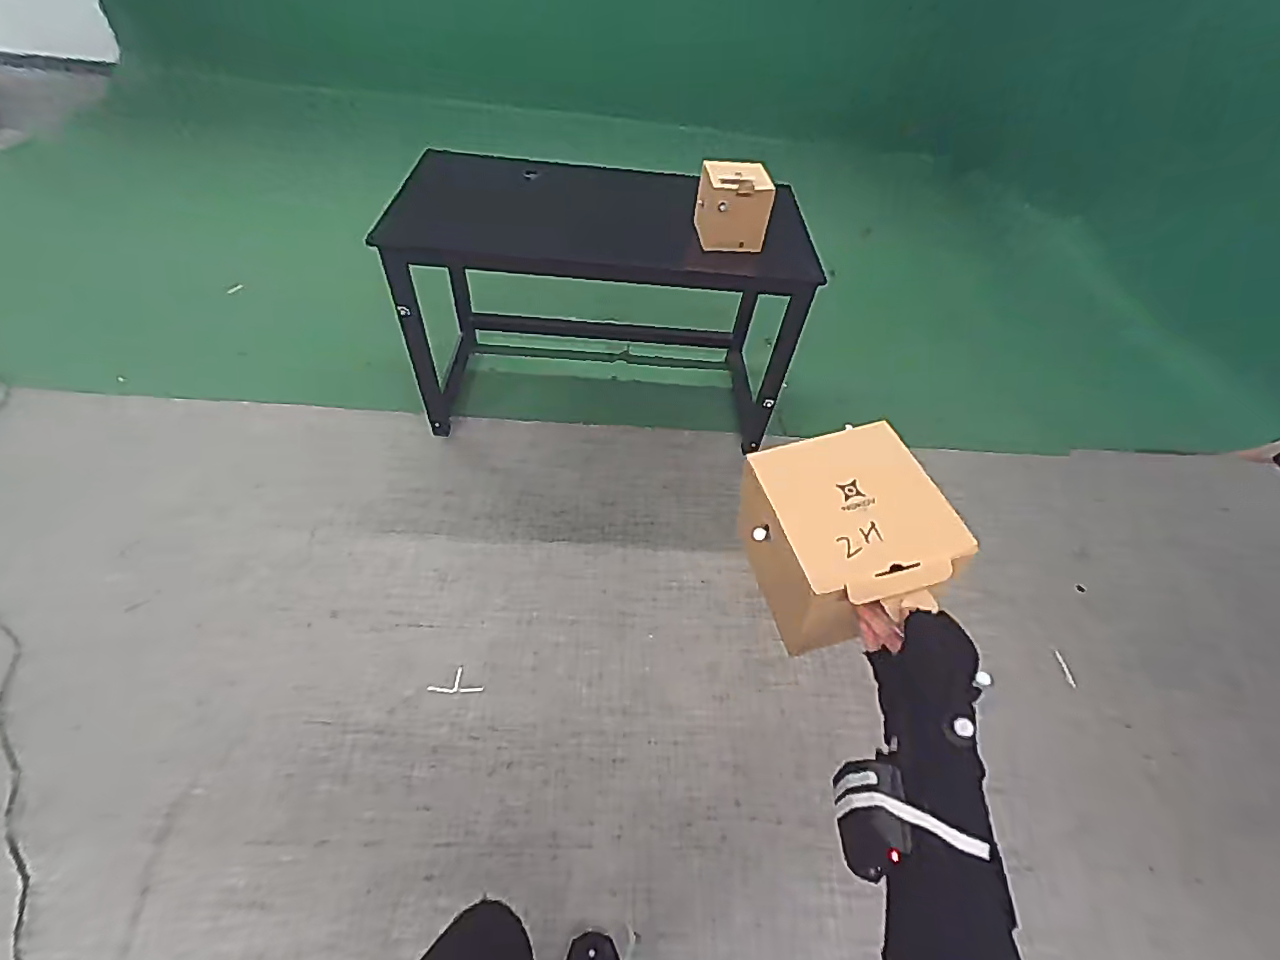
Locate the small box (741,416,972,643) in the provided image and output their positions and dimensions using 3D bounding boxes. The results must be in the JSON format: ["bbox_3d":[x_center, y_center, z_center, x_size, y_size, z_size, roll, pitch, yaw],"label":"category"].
[{"bbox_3d":[0.221,0.059,0.616,0.168,0.176,0.179,-14,53,-4],"label":"small box"}]
